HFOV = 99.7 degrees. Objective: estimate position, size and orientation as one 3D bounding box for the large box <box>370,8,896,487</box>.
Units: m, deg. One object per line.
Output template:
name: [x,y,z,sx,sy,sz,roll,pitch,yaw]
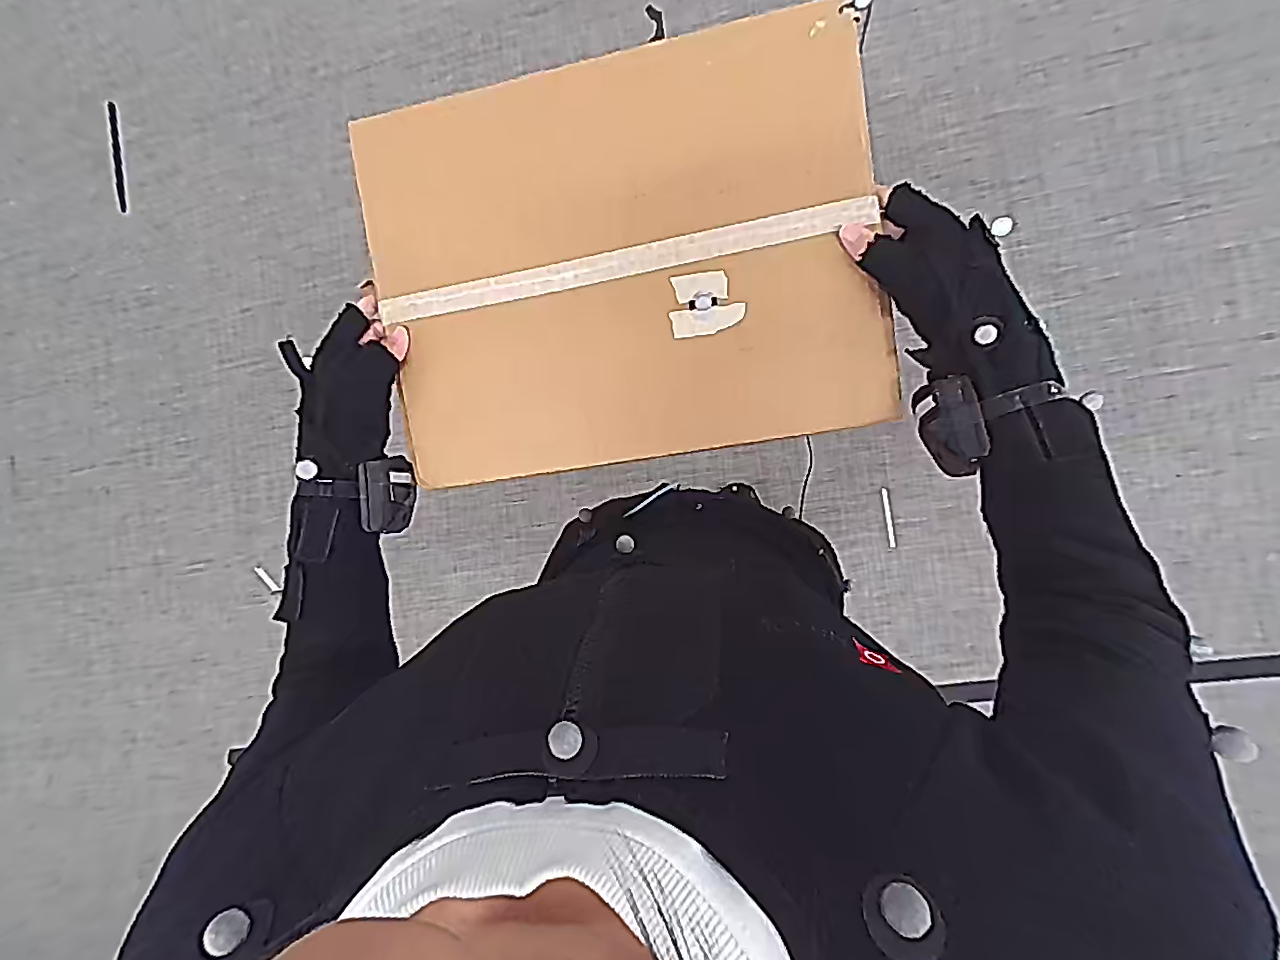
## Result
large box: [0.003,-0.188,0.592,0.408,0.320,0.320,-9,95,8]
